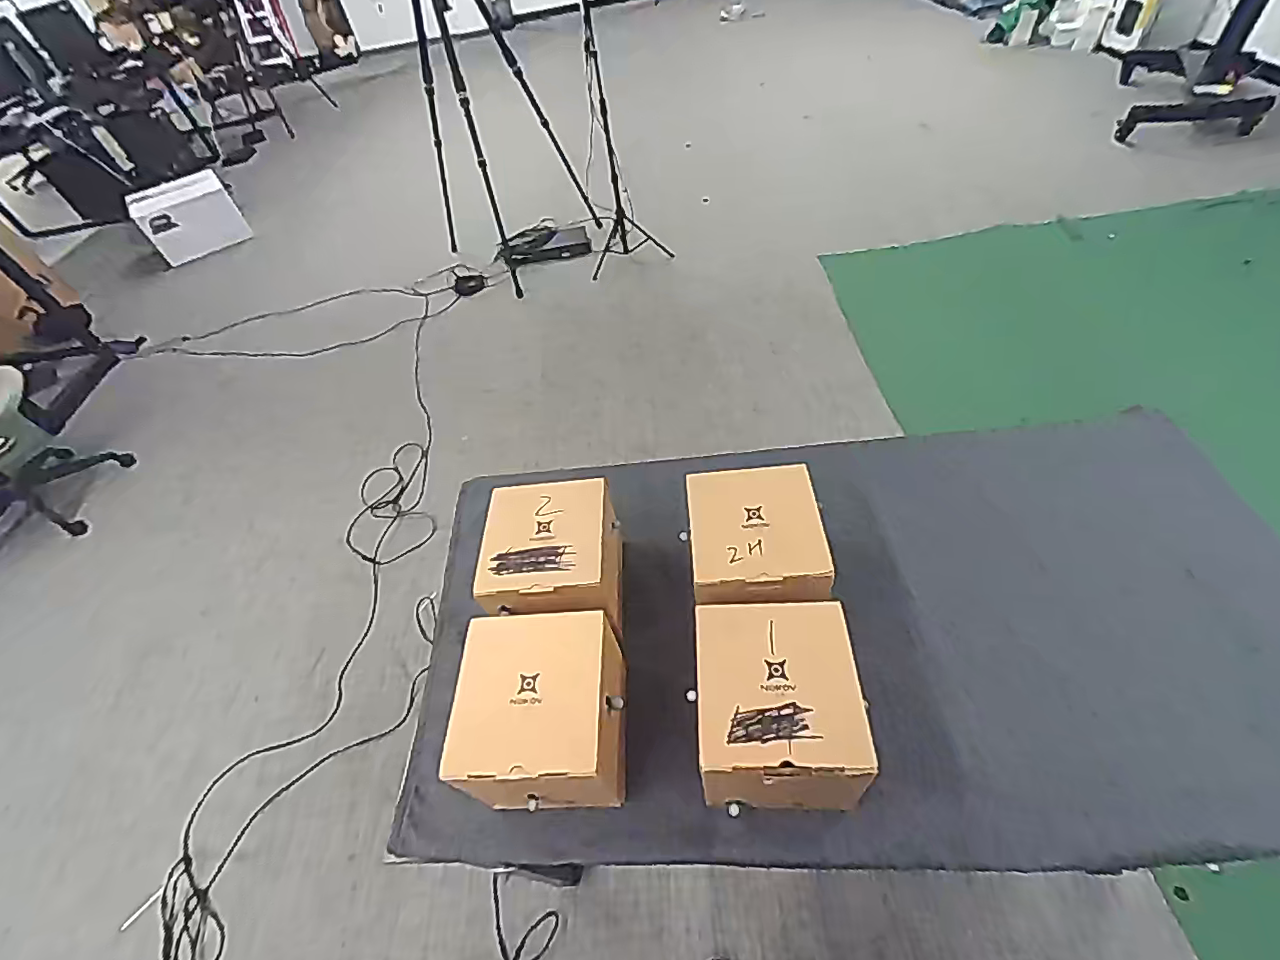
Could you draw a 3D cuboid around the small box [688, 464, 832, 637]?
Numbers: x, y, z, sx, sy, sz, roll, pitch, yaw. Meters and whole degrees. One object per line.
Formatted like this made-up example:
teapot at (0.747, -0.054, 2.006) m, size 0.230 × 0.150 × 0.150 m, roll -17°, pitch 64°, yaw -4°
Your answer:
small box at (0.155, 0.100, 0.754) m, size 0.168 × 0.176 × 0.179 m, roll -5°, pitch 50°, yaw 6°
